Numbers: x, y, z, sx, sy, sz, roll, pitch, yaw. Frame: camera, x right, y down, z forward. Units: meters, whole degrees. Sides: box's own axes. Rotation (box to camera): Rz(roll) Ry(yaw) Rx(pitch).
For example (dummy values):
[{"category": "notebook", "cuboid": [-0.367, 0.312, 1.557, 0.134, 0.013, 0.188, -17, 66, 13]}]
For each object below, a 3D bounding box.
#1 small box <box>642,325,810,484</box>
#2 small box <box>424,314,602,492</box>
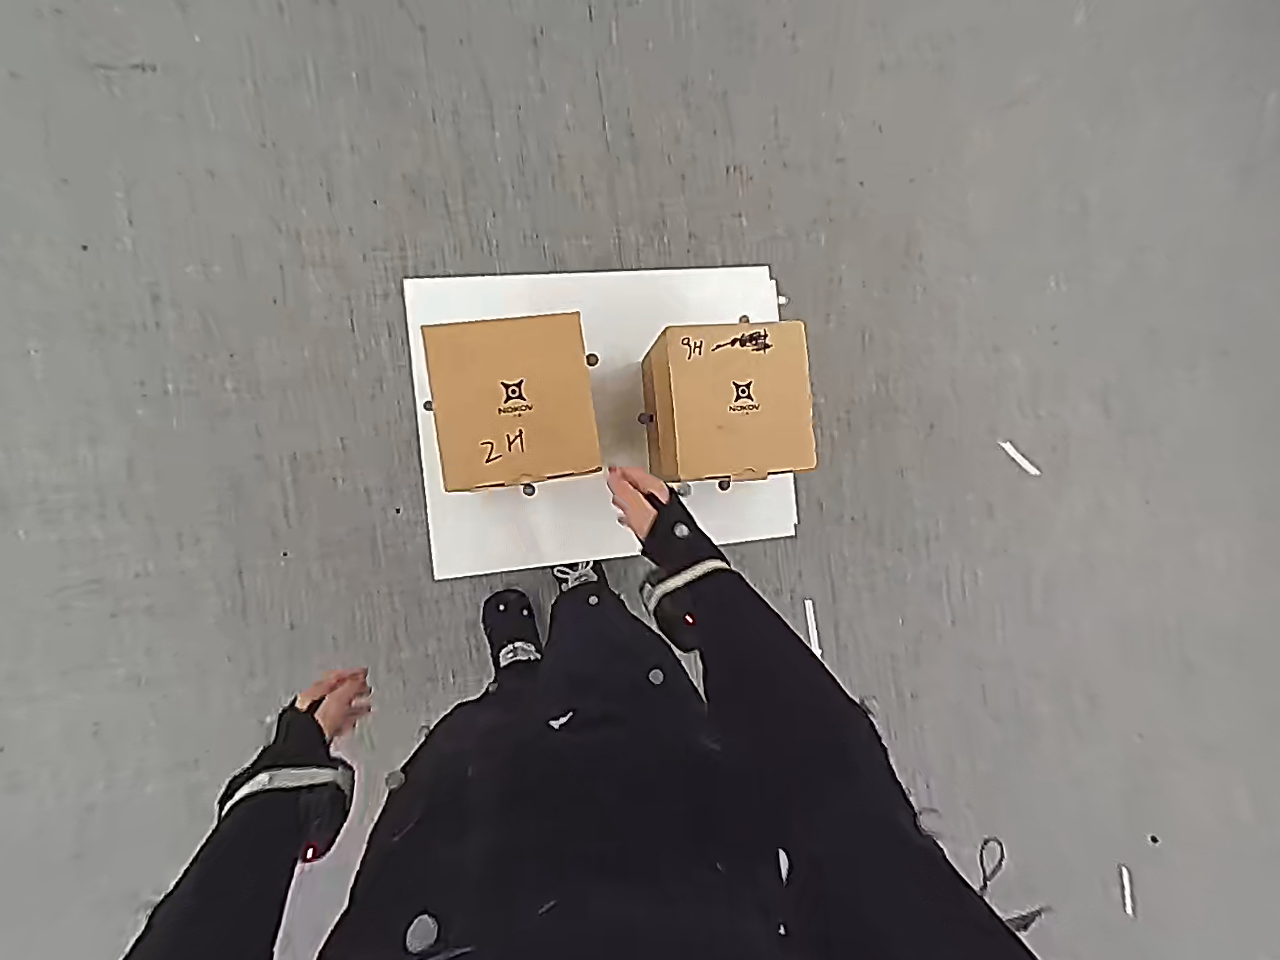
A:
[{"category": "small box", "cuboid": [0.100, -0.089, 0.688, 0.168, 0.176, 0.179, -4, 92, -10]}, {"category": "small box", "cuboid": [-0.145, -0.081, 0.645, 0.168, 0.176, 0.179, -9, 91, -9]}]
